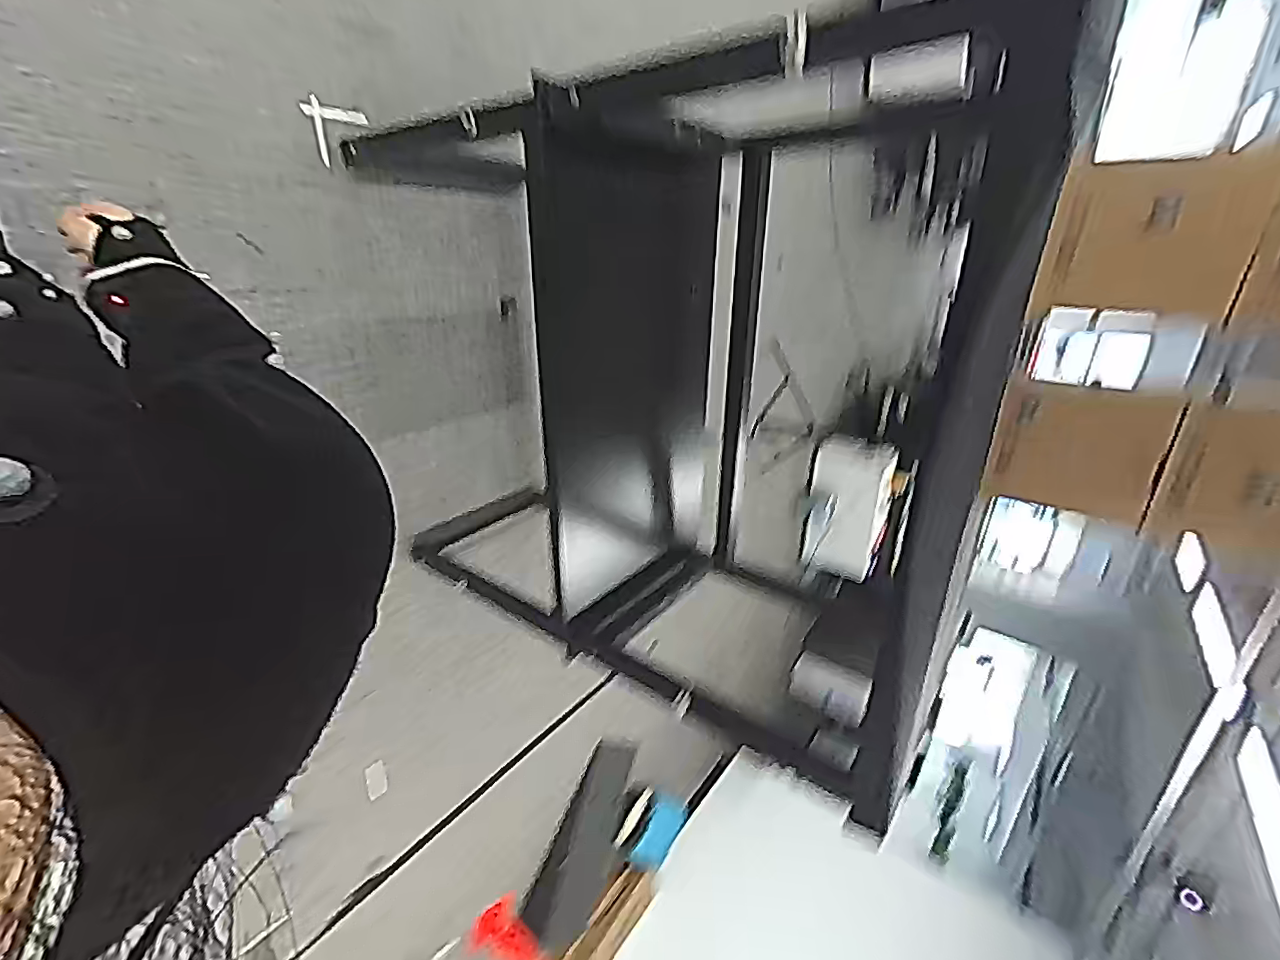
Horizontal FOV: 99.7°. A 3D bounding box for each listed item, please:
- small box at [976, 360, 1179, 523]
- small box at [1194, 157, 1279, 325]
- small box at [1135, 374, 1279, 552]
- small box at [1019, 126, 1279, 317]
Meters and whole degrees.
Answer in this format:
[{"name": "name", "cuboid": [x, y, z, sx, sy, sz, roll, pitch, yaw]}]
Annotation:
[{"name": "small box", "cuboid": [0.562, -0.062, 0.719, 0.179, 0.176, 0.168, -27, 125, -50]}, {"name": "small box", "cuboid": [0.677, -0.236, 0.521, 0.179, 0.176, 0.168, -26, 123, -49]}, {"name": "small box", "cuboid": [0.697, -0.026, 0.633, 0.179, 0.176, 0.168, -25, 124, -50]}, {"name": "small box", "cuboid": [0.544, -0.277, 0.605, 0.179, 0.176, 0.168, -30, 128, -49]}]
